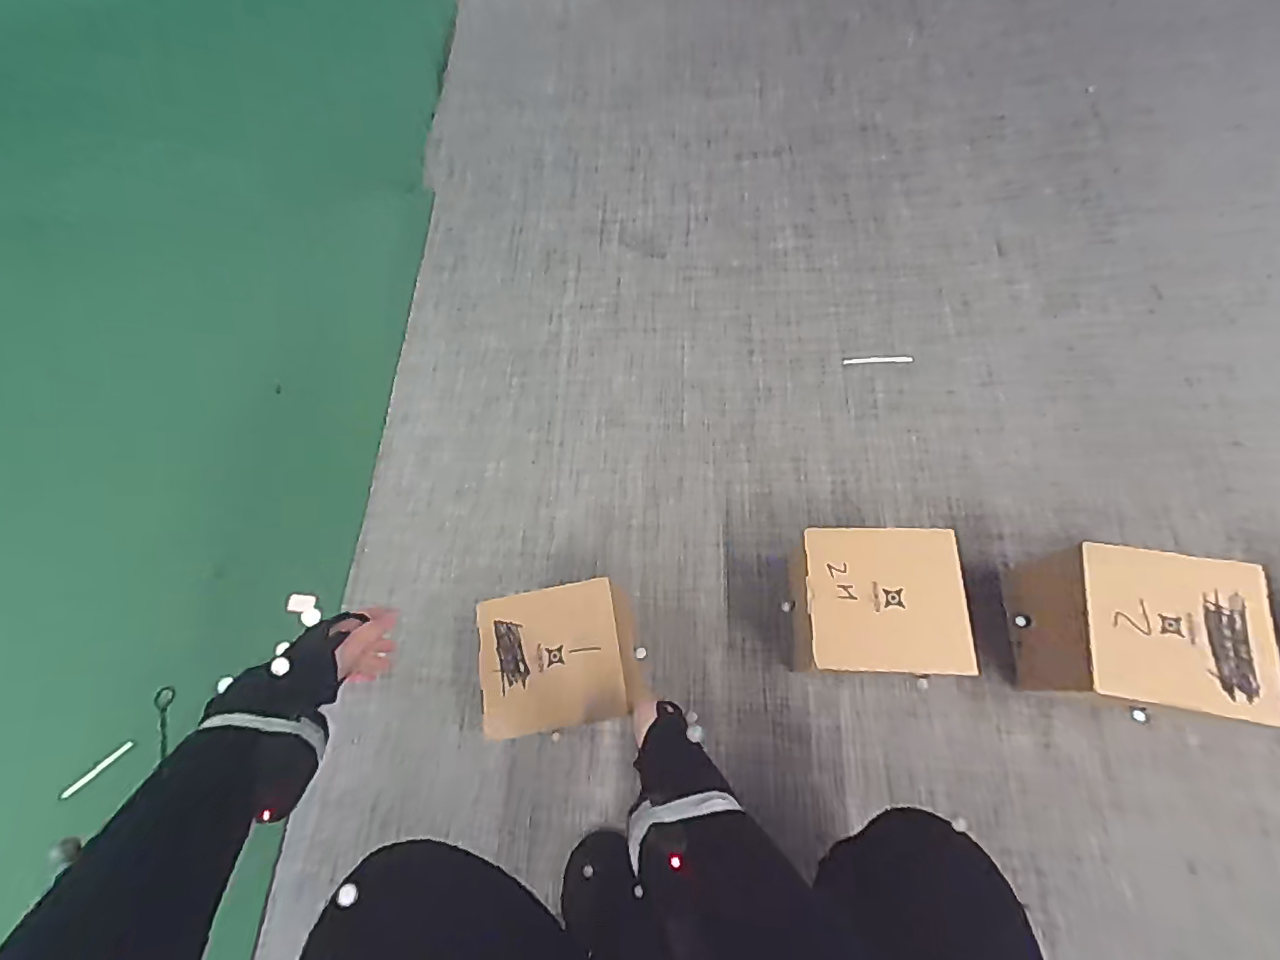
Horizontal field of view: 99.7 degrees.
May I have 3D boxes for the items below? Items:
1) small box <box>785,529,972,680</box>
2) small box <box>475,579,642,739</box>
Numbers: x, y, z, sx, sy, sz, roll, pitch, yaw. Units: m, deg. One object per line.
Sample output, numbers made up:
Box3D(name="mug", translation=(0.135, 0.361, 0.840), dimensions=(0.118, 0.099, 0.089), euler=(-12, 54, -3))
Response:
Box3D(name="small box", translation=(0.289, 0.165, 0.695), dimensions=(0.179, 0.176, 0.168), euler=(0, 69, 9))
Box3D(name="small box", translation=(-0.102, 0.242, 0.722), dimensions=(0.179, 0.176, 0.168), euler=(-11, 68, 3))
